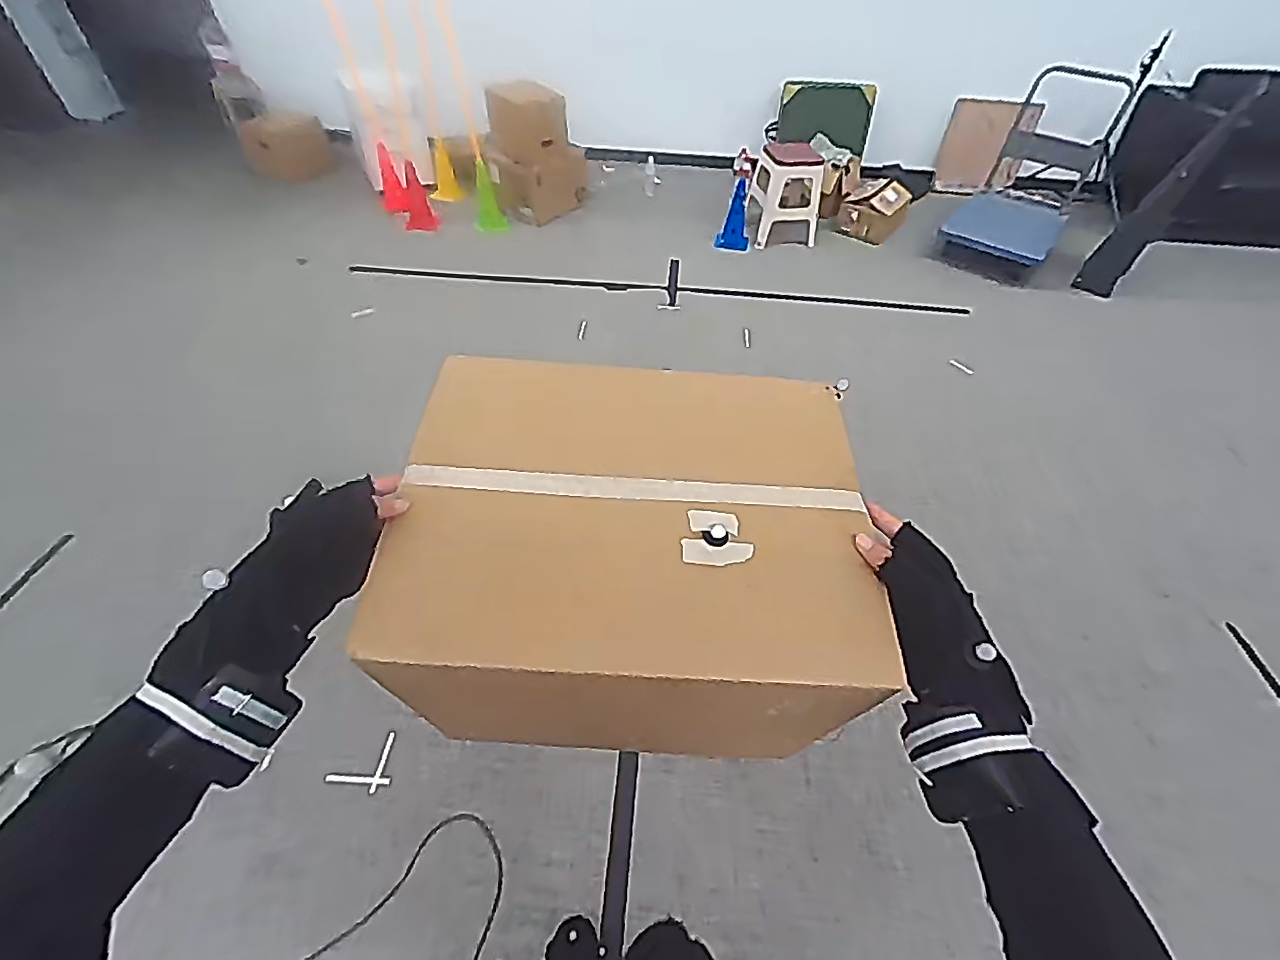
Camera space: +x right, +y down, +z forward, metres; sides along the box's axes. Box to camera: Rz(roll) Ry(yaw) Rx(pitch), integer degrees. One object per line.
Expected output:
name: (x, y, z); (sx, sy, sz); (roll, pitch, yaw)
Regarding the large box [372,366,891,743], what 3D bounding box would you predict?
large box: (-0.011, 0.099, 0.612); (0.408, 0.320, 0.320); (4, 55, -2)
